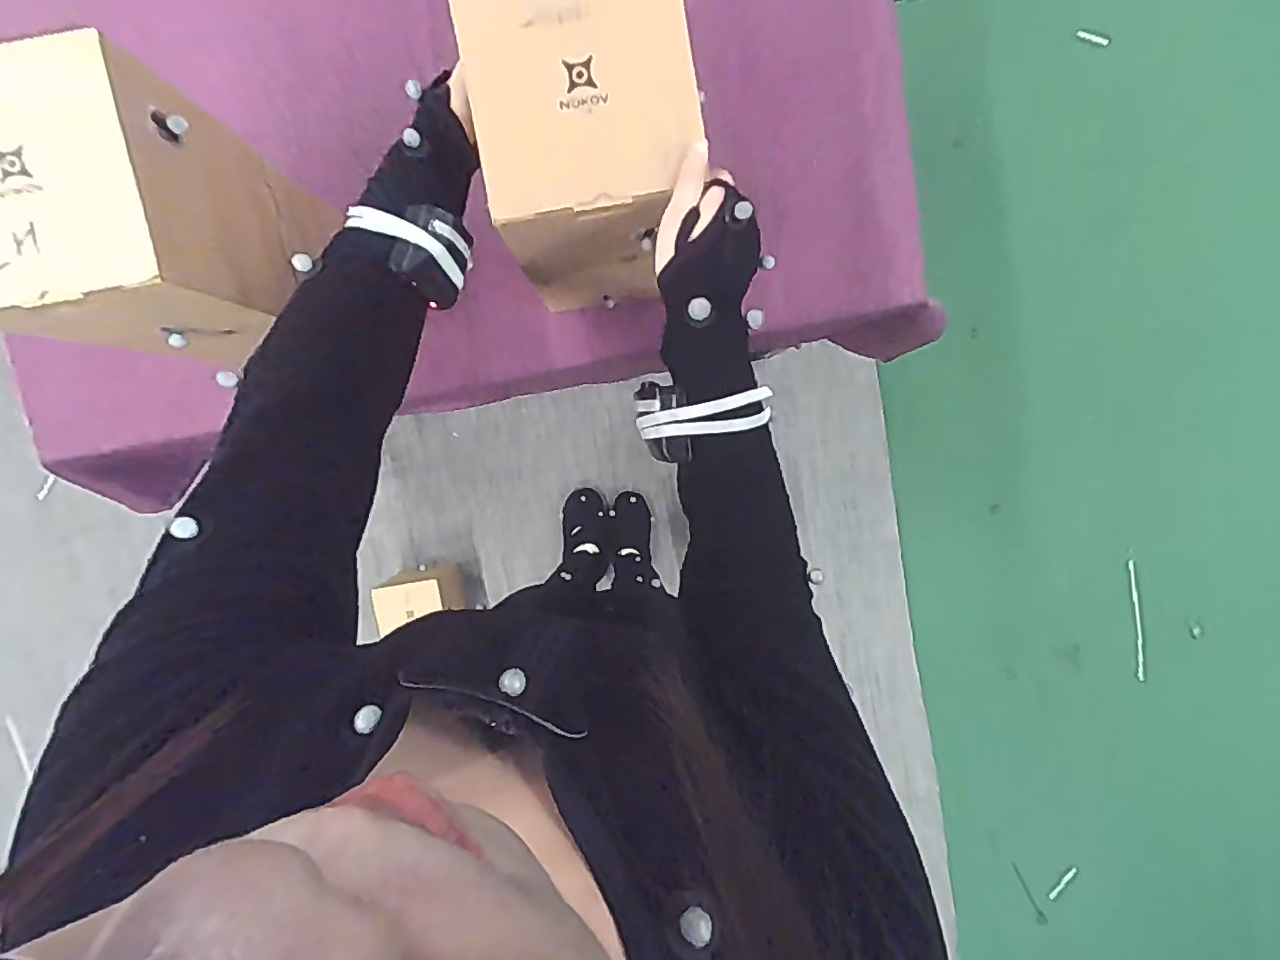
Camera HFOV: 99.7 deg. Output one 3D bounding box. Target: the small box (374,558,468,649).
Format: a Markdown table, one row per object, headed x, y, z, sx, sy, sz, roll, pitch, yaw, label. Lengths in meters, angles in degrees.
| x | y | z | sx | sy | sz | roll | pitch | yaw | label |
| --- | --- | --- | --- | --- | --- | --- | --- | --- | --- |
| -0.565 | 0.318 | 1.422 | 0.168 | 0.176 | 0.179 | -10 | 95 | -1 | small box |

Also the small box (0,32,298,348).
| x | y | z | sx | sy | sz | roll | pitch | yaw | label |
| --- | --- | --- | --- | --- | --- | --- | --- | --- | --- |
| -0.437 | -0.223 | 0.463 | 0.168 | 0.176 | 0.179 | -10 | 97 | 0 | small box |

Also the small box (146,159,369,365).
| x | y | z | sx | sy | sz | roll | pitch | yaw | label |
| --- | --- | --- | --- | --- | --- | --- | --- | --- | --- |
| -0.442 | -0.237 | 0.629 | 0.179 | 0.176 | 0.168 | -12 | 96 | -2 | small box |
